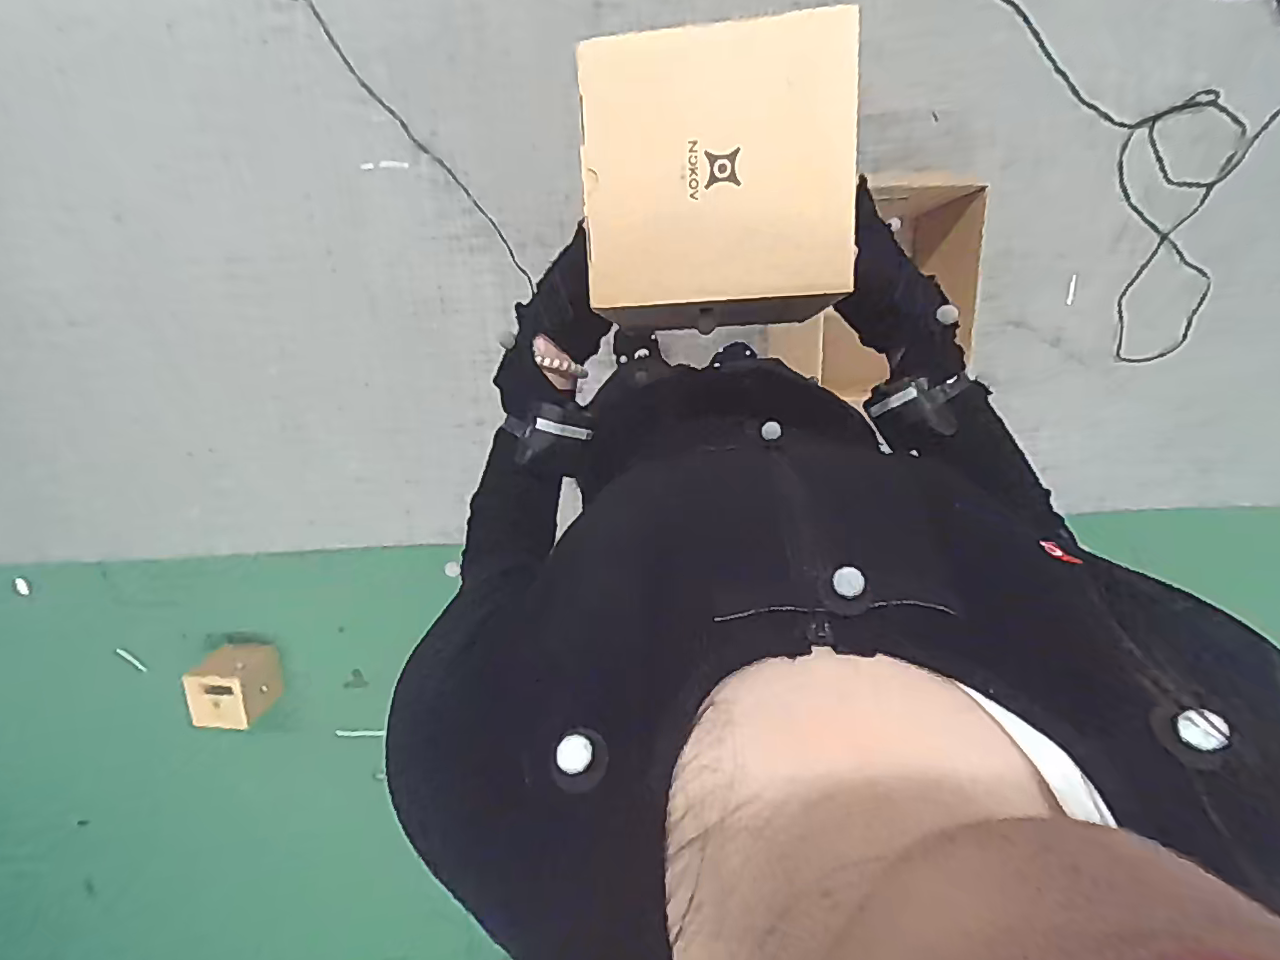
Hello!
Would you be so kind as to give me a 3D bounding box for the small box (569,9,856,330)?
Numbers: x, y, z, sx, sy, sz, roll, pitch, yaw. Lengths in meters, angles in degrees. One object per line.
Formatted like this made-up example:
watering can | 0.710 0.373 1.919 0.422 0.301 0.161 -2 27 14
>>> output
small box | 0.054 -0.210 0.419 0.179 0.176 0.168 -1 101 8
